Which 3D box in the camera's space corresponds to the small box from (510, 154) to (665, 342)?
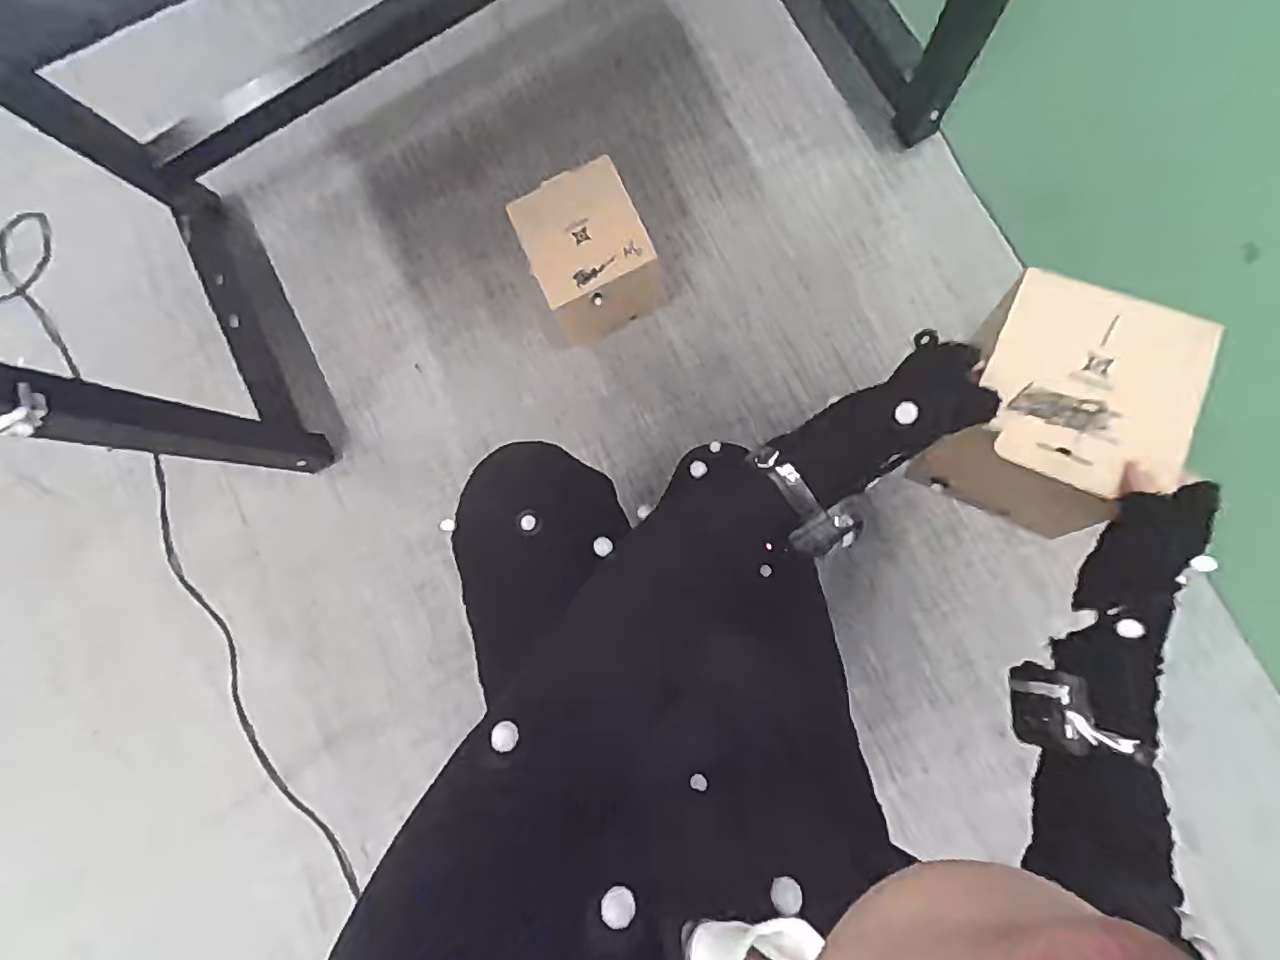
[{"bbox_3d":[-0.073,-0.345,0.838,0.168,0.176,0.179,-25,81,5],"label":"small box"}]
